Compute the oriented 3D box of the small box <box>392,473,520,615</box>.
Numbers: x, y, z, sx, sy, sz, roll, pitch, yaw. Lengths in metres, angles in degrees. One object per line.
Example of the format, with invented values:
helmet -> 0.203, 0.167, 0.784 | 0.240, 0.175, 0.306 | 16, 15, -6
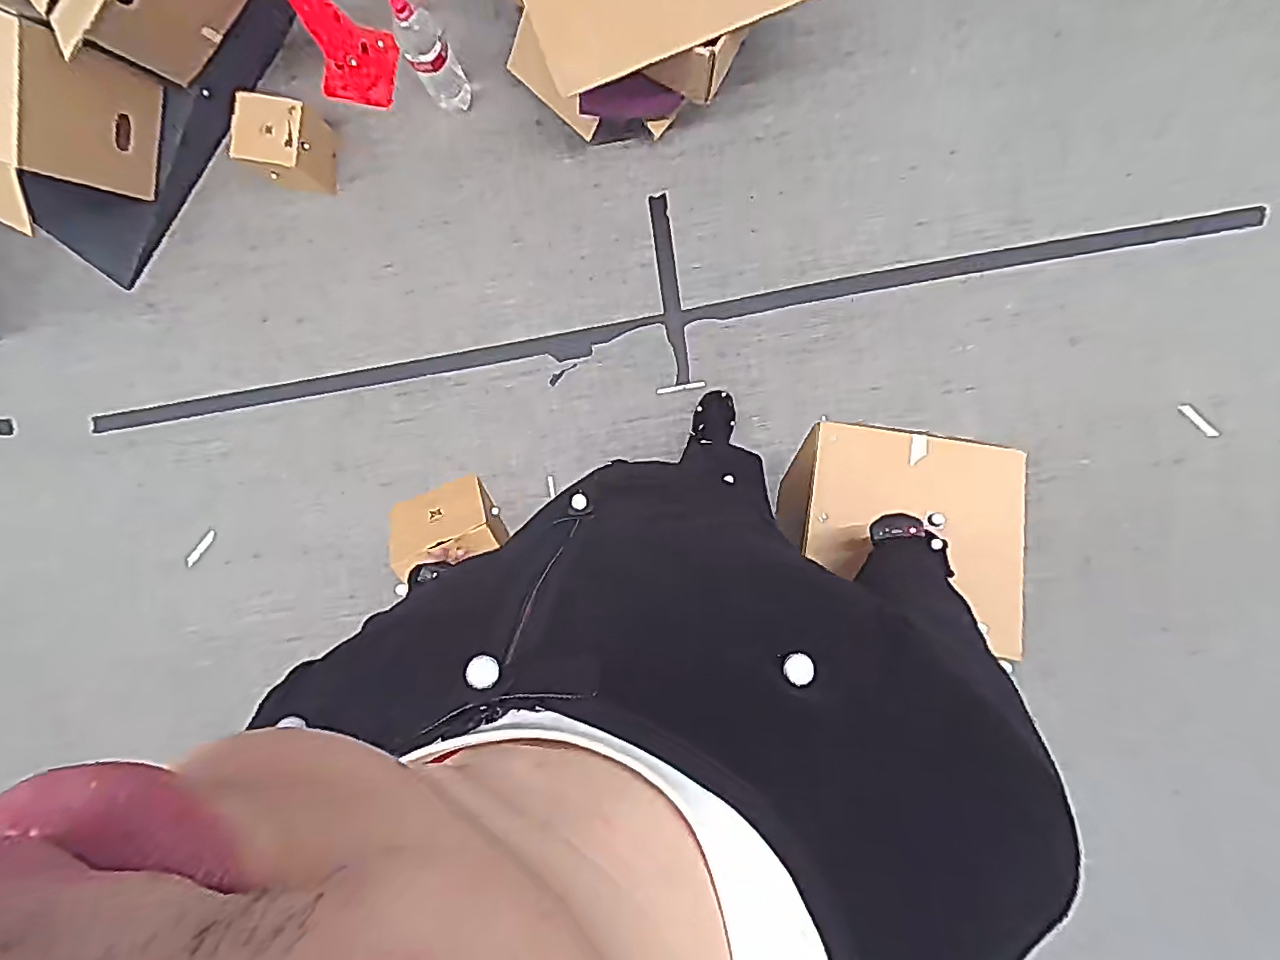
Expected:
small box -> -0.334, 0.123, 0.994 | 0.168, 0.179, 0.176 | -23, 128, -9
